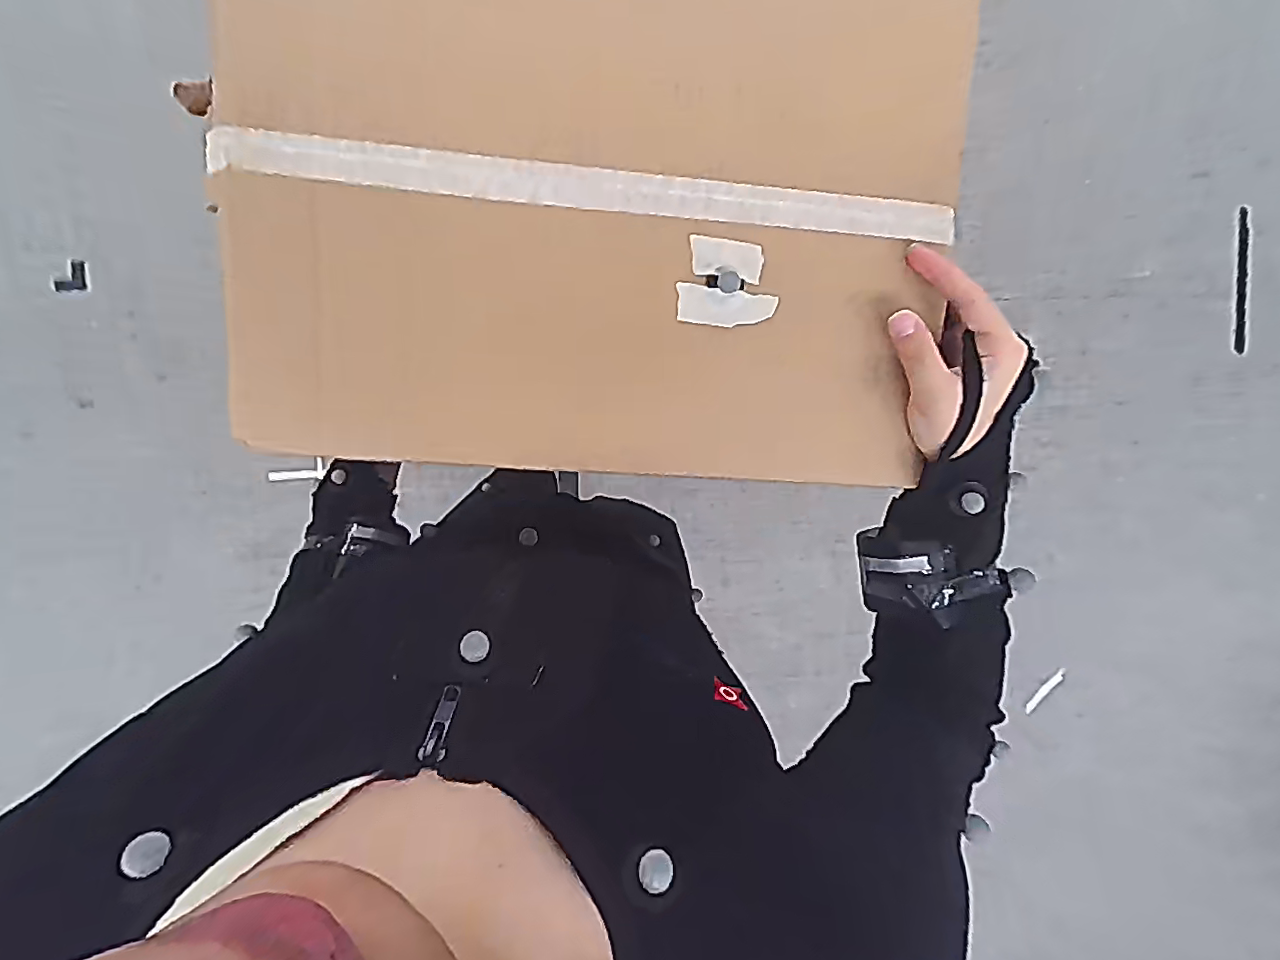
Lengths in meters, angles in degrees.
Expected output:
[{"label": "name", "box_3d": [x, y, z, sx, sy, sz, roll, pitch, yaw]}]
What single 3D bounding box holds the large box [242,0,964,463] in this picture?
[{"label": "large box", "box_3d": [-0.031, -0.188, 0.456, 0.408, 0.320, 0.320, 3, 98, -8]}]
